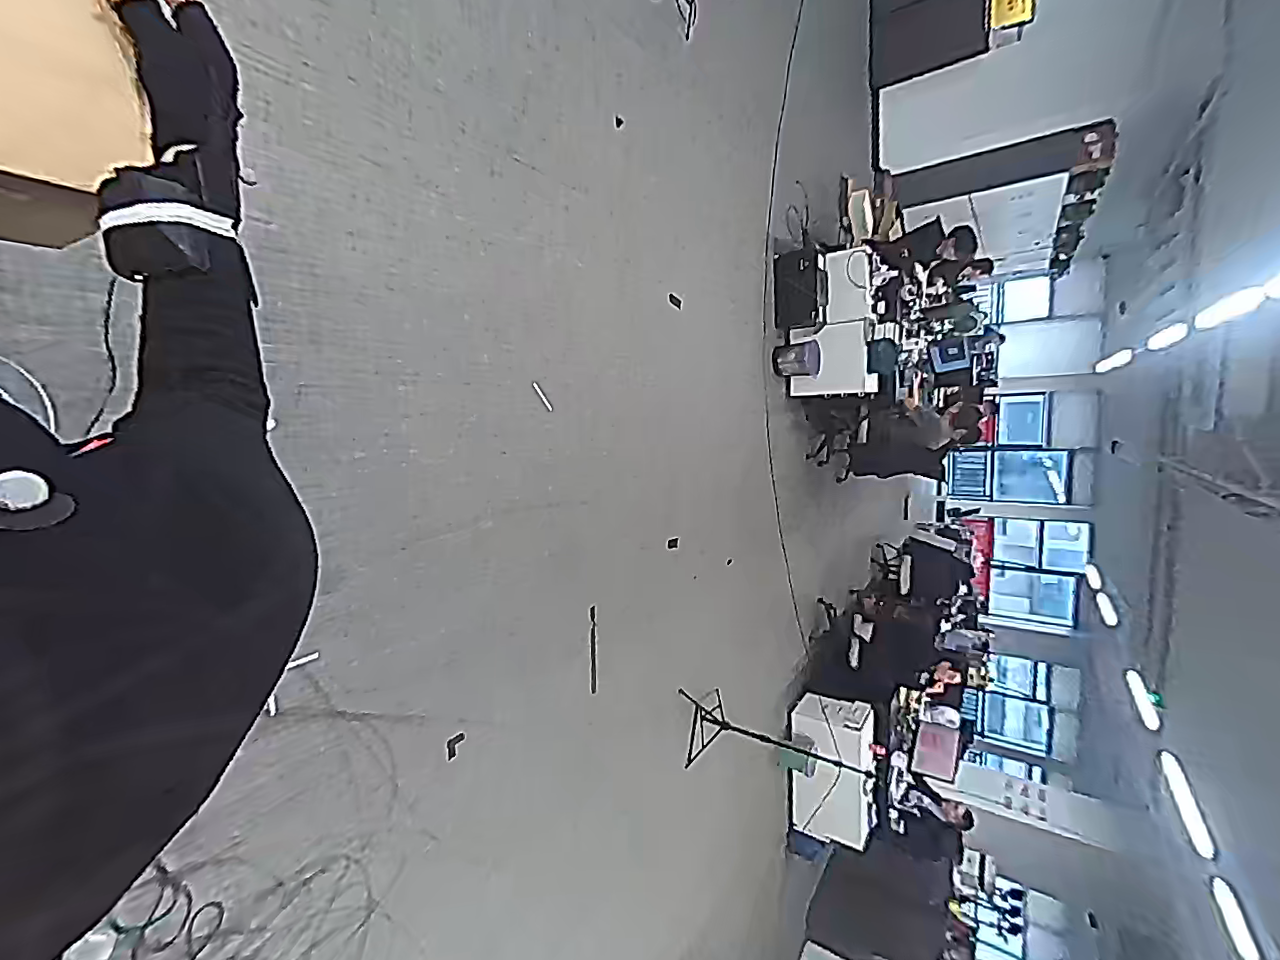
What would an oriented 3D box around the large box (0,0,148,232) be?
[{"bbox_3d":[-0.605,-0.370,0.310,0.408,0.320,0.320,-9,107,-56],"label":"large box"}]
